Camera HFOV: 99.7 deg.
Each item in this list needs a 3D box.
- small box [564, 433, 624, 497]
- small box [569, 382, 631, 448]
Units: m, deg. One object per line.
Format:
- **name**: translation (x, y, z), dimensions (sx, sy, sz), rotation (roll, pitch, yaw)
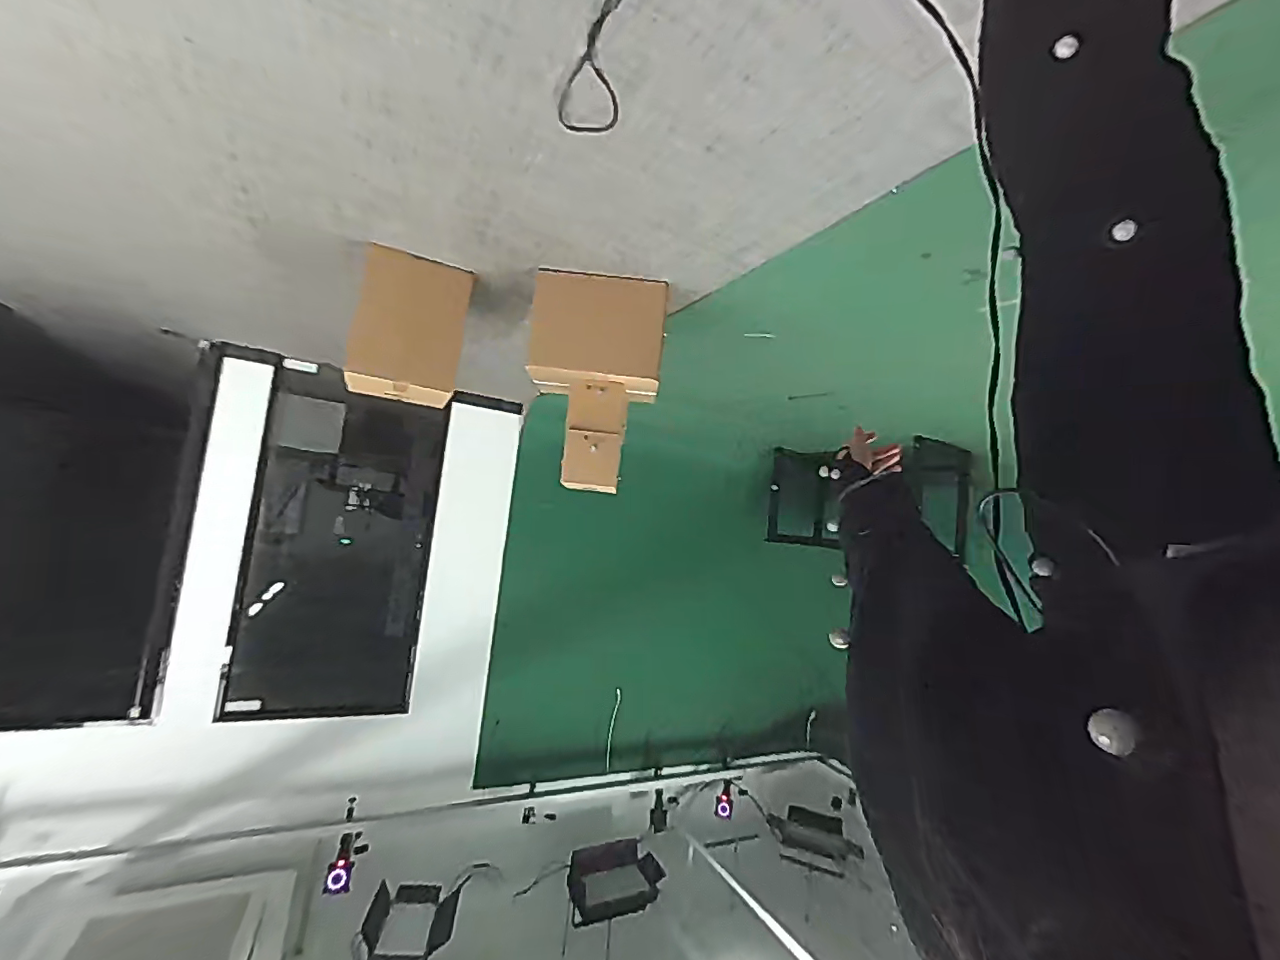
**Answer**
- **small box**: translation (-0.142, -0.045, 1.719), dimensions (0.168, 0.176, 0.179), rotation (6, 173, 0)
- **small box**: translation (-0.123, -0.206, 1.748), dimensions (0.168, 0.176, 0.179), rotation (6, 174, 5)
